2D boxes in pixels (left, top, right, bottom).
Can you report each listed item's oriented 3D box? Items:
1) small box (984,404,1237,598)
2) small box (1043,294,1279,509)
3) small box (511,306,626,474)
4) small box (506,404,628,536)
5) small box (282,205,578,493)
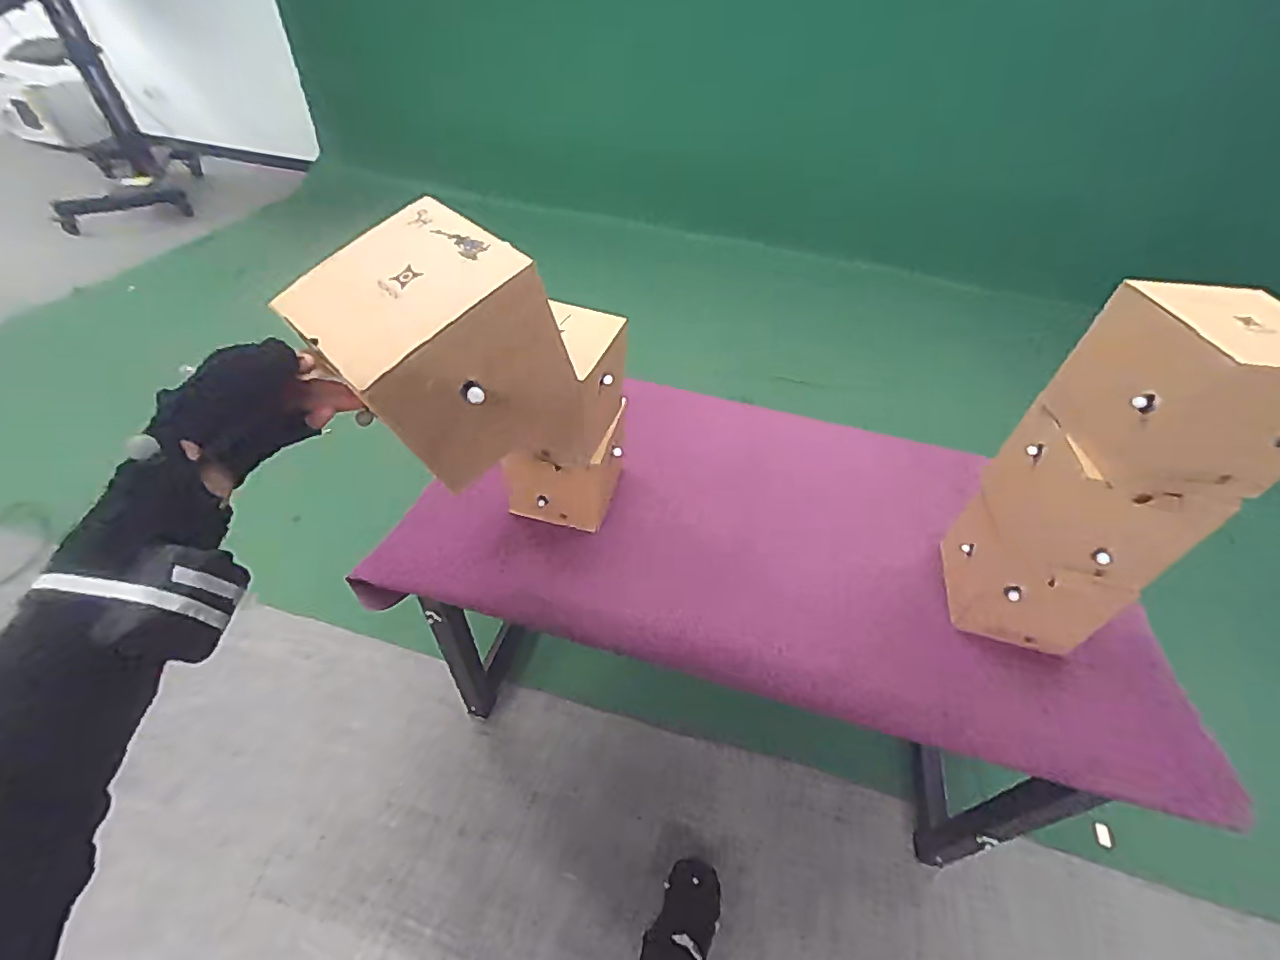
[{"bbox_3d":[0.597,0.028,0.723,0.168,0.176,0.179,11,46,6],"label":"small box"},{"bbox_3d":[0.614,-0.085,0.606,0.168,0.176,0.179,4,45,-2],"label":"small box"},{"bbox_3d":[-0.128,-0.136,0.817,0.168,0.176,0.179,17,47,9],"label":"small box"},{"bbox_3d":[-0.127,-0.033,0.946,0.168,0.176,0.179,13,48,6],"label":"small box"},{"bbox_3d":[-0.186,-0.118,0.526,0.179,0.176,0.168,-43,64,-13],"label":"small box"}]
